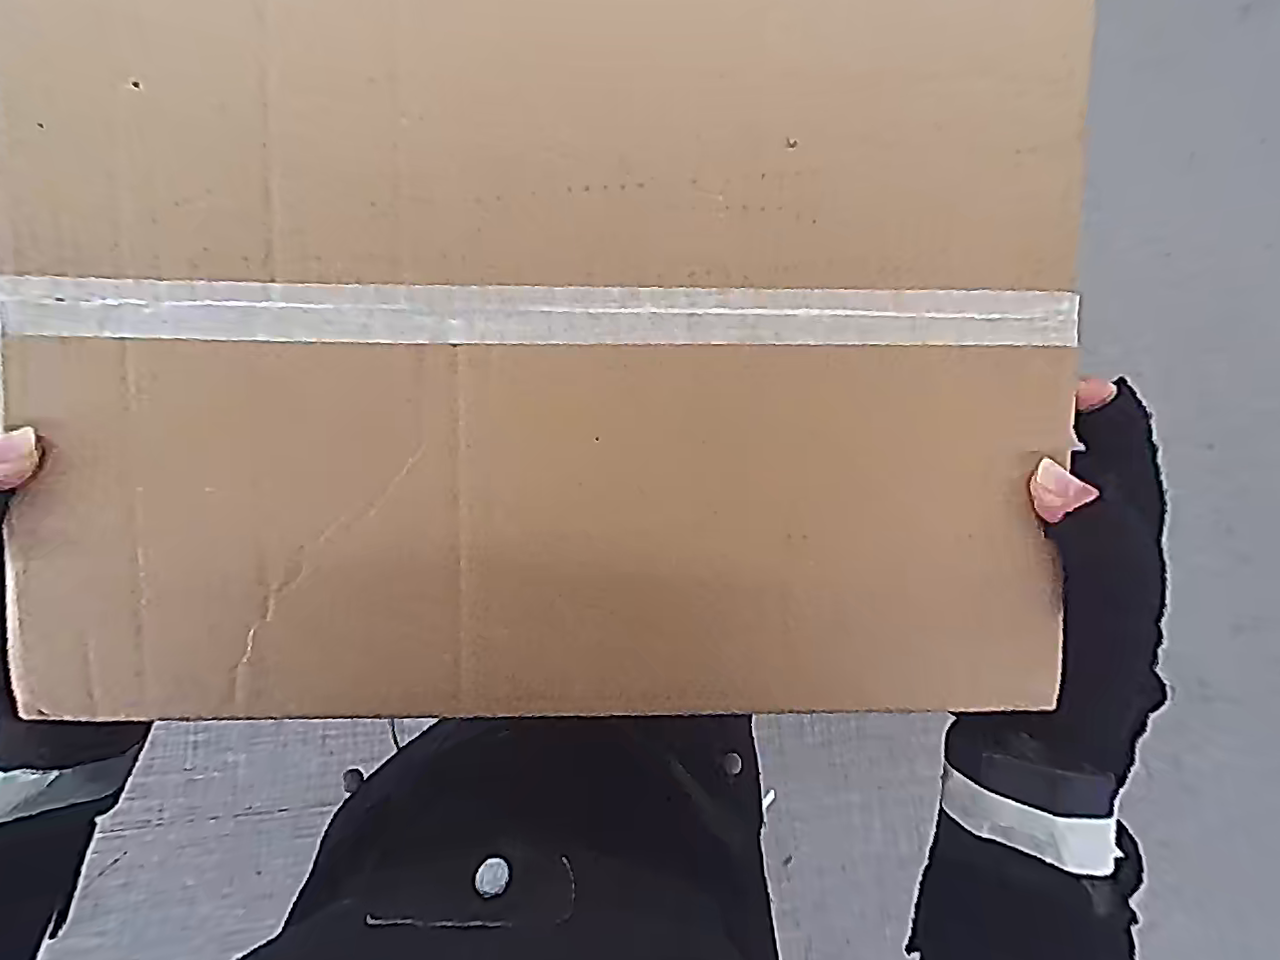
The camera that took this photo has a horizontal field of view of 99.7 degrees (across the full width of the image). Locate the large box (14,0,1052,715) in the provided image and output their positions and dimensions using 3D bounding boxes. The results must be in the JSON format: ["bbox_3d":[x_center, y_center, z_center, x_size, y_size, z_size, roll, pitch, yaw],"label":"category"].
[{"bbox_3d":[-0.039,-0.067,0.366,0.408,0.320,0.320,1,93,-2],"label":"large box"}]
